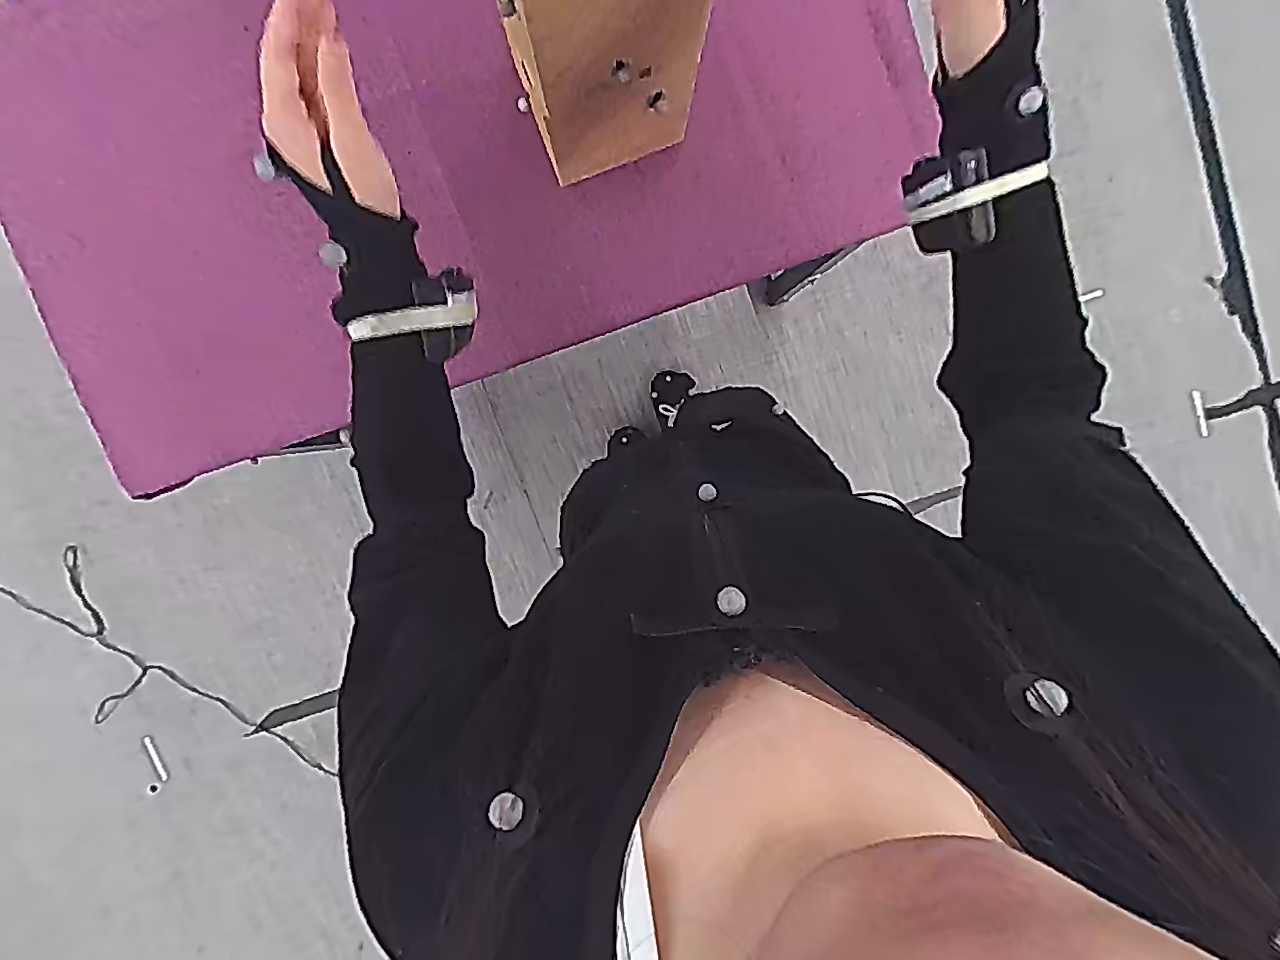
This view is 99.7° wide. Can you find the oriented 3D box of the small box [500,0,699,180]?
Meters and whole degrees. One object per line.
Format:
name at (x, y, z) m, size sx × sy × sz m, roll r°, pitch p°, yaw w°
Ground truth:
small box at (-0.049, -0.487, 0.626) m, size 0.179 × 0.176 × 0.168 m, roll -20°, pitch 96°, yaw 1°
